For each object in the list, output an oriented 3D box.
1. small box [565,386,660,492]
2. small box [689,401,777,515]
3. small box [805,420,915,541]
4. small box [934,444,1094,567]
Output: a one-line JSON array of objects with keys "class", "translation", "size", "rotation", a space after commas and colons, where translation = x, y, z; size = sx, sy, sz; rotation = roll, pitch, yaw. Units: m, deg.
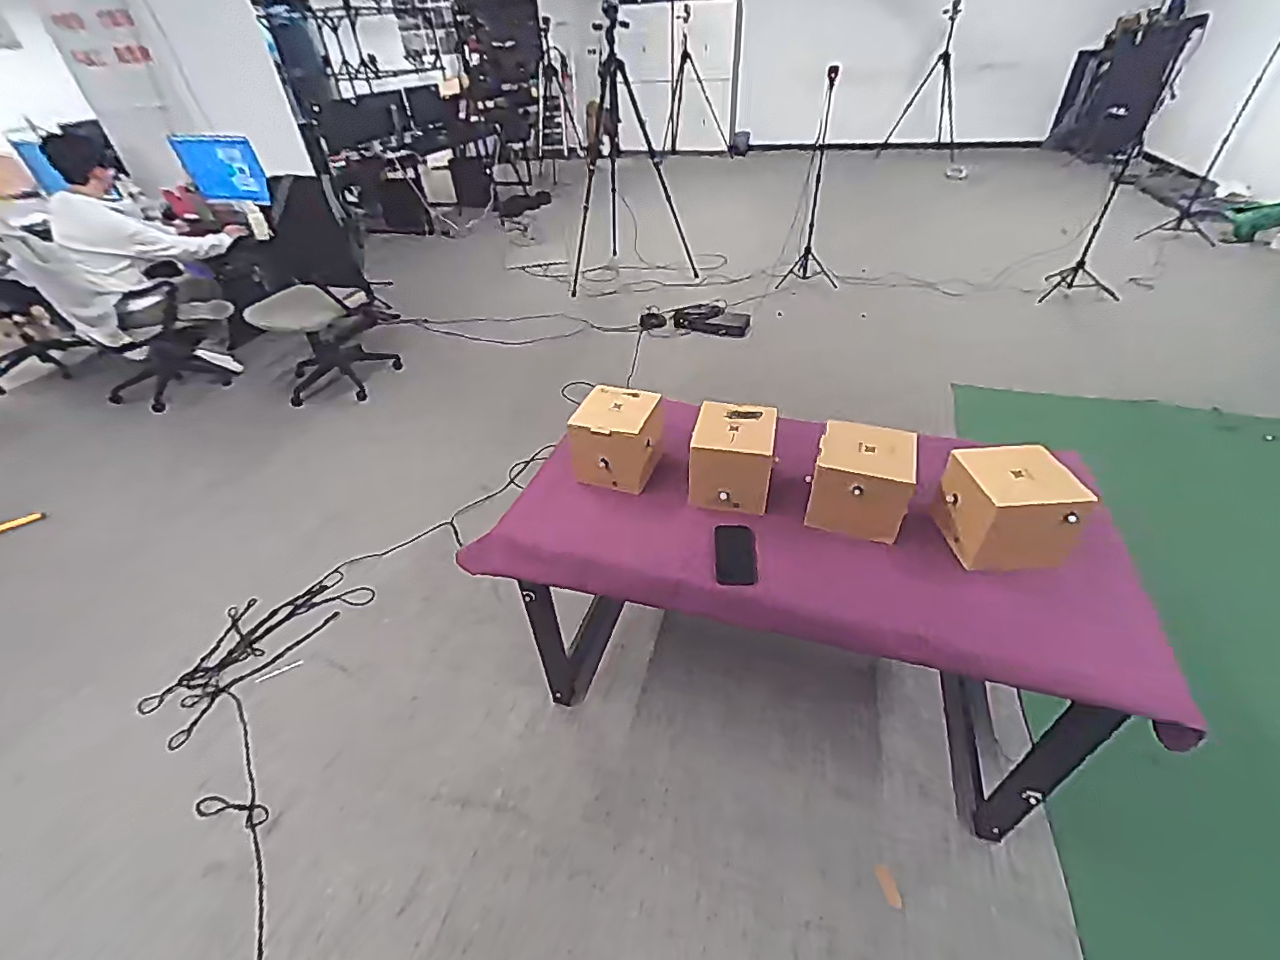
[{"class": "small box", "translation": [-0.053, -0.095, 1.256], "size": [0.168, 0.176, 0.179], "rotation": [11, 42, 17]}, {"class": "small box", "translation": [0.201, -0.050, 1.181], "size": [0.168, 0.176, 0.179], "rotation": [7, 41, 13]}, {"class": "small box", "translation": [0.443, 0.001, 1.101], "size": [0.179, 0.176, 0.168], "rotation": [13, 43, 19]}, {"class": "small box", "translation": [0.684, 0.050, 1.021], "size": [0.179, 0.176, 0.168], "rotation": [-3, 39, 0]}]
